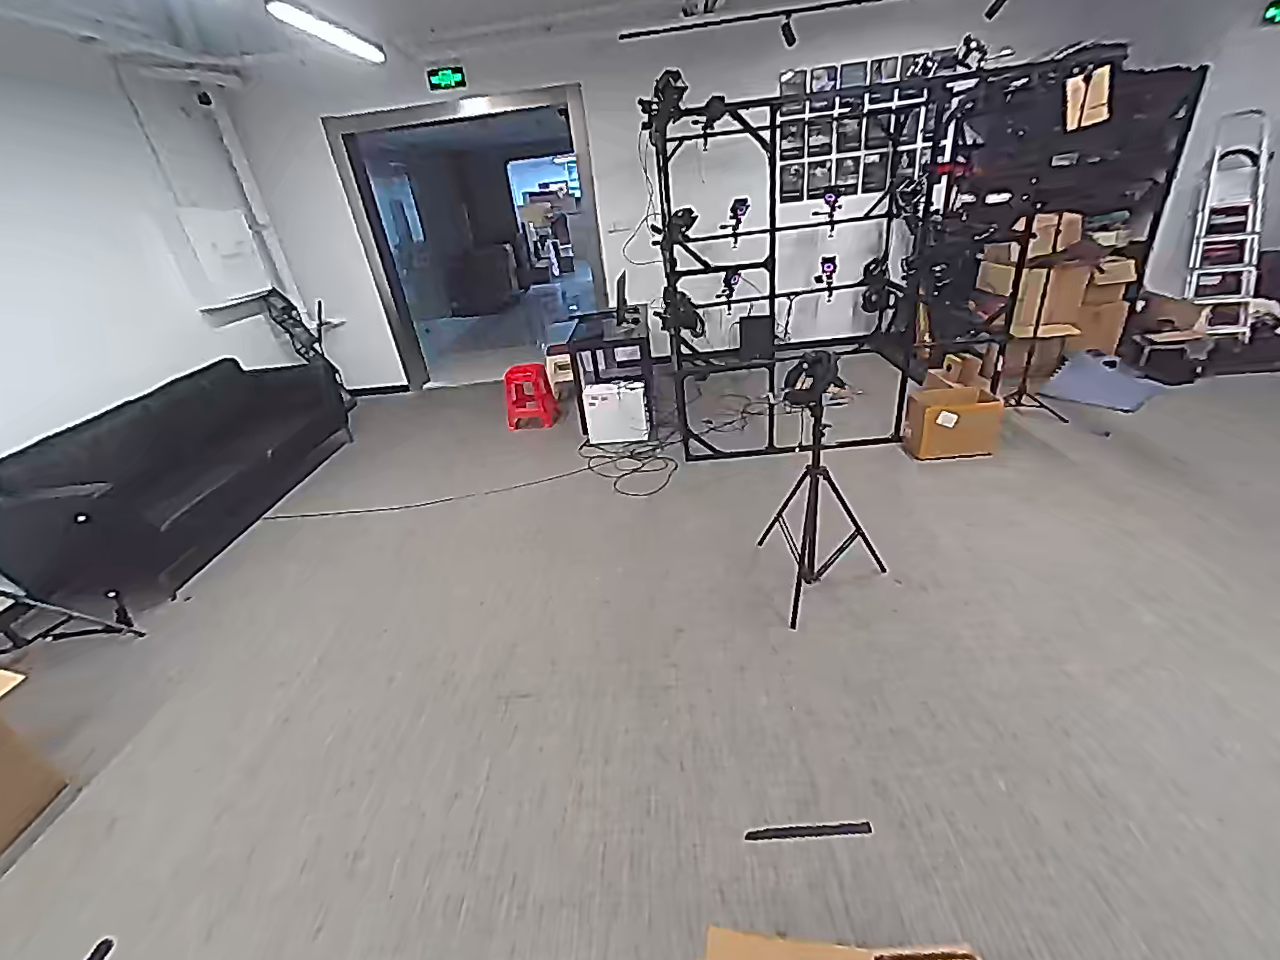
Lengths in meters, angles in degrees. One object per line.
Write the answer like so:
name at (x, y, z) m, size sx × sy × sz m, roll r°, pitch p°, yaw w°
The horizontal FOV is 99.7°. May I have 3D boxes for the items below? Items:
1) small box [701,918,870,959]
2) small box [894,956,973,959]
small box at (0.157, 0.602, 0.591) m, size 0.179 × 0.176 × 0.168 m, roll 0°, pitch 49°, yaw 11°
small box at (0.616, 1.105, 1.090) m, size 0.168 × 0.176 × 0.179 m, roll -6°, pitch 31°, yaw 4°
